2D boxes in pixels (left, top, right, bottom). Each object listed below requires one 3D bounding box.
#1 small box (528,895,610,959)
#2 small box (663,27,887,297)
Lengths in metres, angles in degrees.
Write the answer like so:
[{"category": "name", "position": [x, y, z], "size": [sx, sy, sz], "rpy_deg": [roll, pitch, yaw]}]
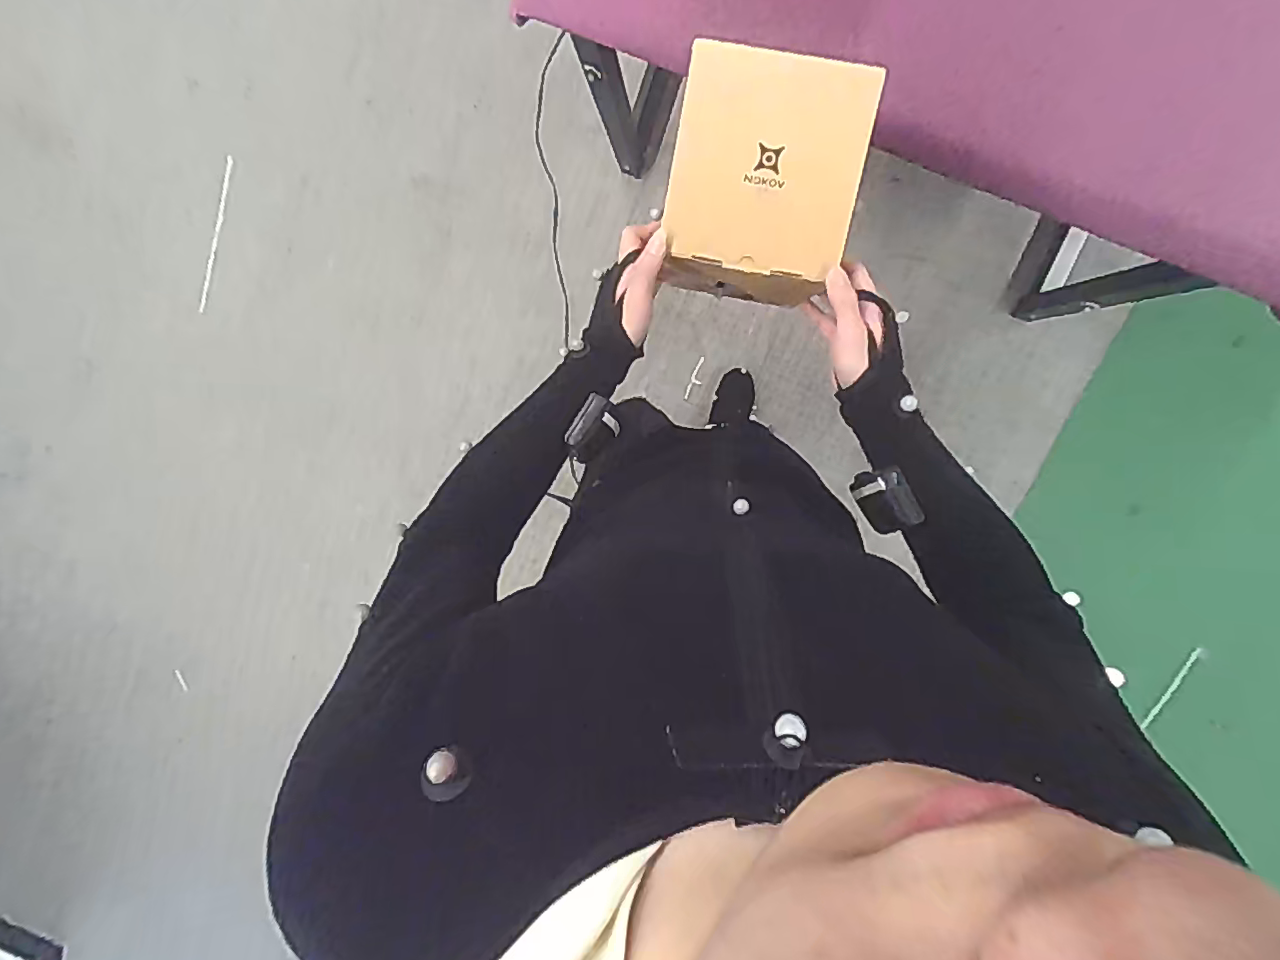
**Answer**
[{"category": "small box", "position": [-0.189, 1.220, 1.373], "size": [0.168, 0.176, 0.179], "rpy_deg": [25, 102, 1]}, {"category": "small box", "position": [0.117, -0.298, 0.547], "size": [0.168, 0.176, 0.179], "rpy_deg": [10, 102, 1]}]
